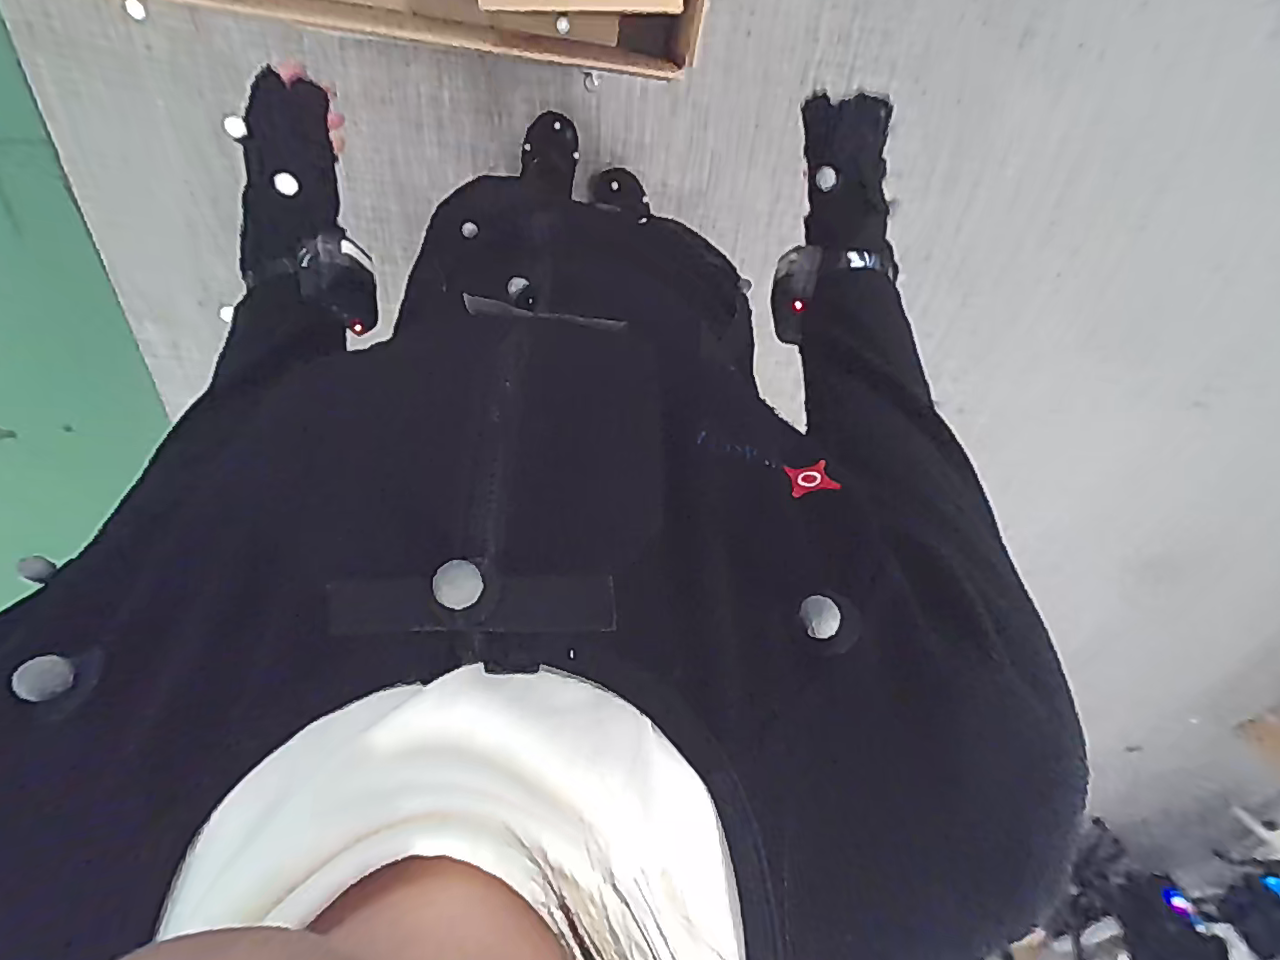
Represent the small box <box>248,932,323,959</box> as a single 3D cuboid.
[{"bbox_3d":[-1.111,1.527,1.668,0.168,0.176,0.179,2,124,-7],"label":"small box"}]
